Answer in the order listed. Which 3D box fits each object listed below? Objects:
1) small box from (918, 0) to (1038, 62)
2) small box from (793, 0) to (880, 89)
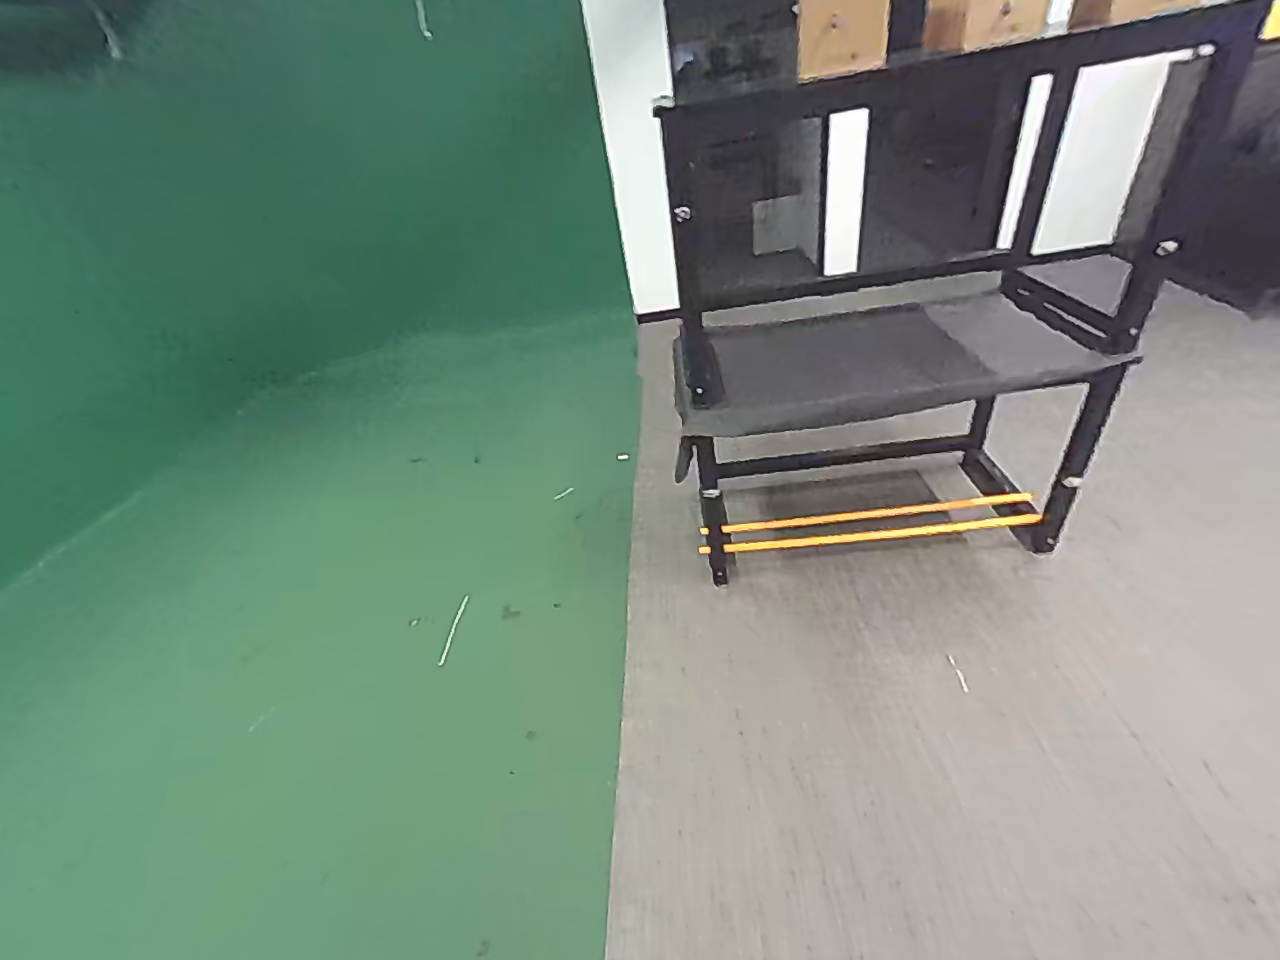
[{"bbox_3d":[0.723,-1.019,1.162,0.168,0.176,0.179,-10,35,2],"label":"small box"},{"bbox_3d":[0.434,-0.992,1.208,0.168,0.176,0.179,-2,36,13],"label":"small box"}]
